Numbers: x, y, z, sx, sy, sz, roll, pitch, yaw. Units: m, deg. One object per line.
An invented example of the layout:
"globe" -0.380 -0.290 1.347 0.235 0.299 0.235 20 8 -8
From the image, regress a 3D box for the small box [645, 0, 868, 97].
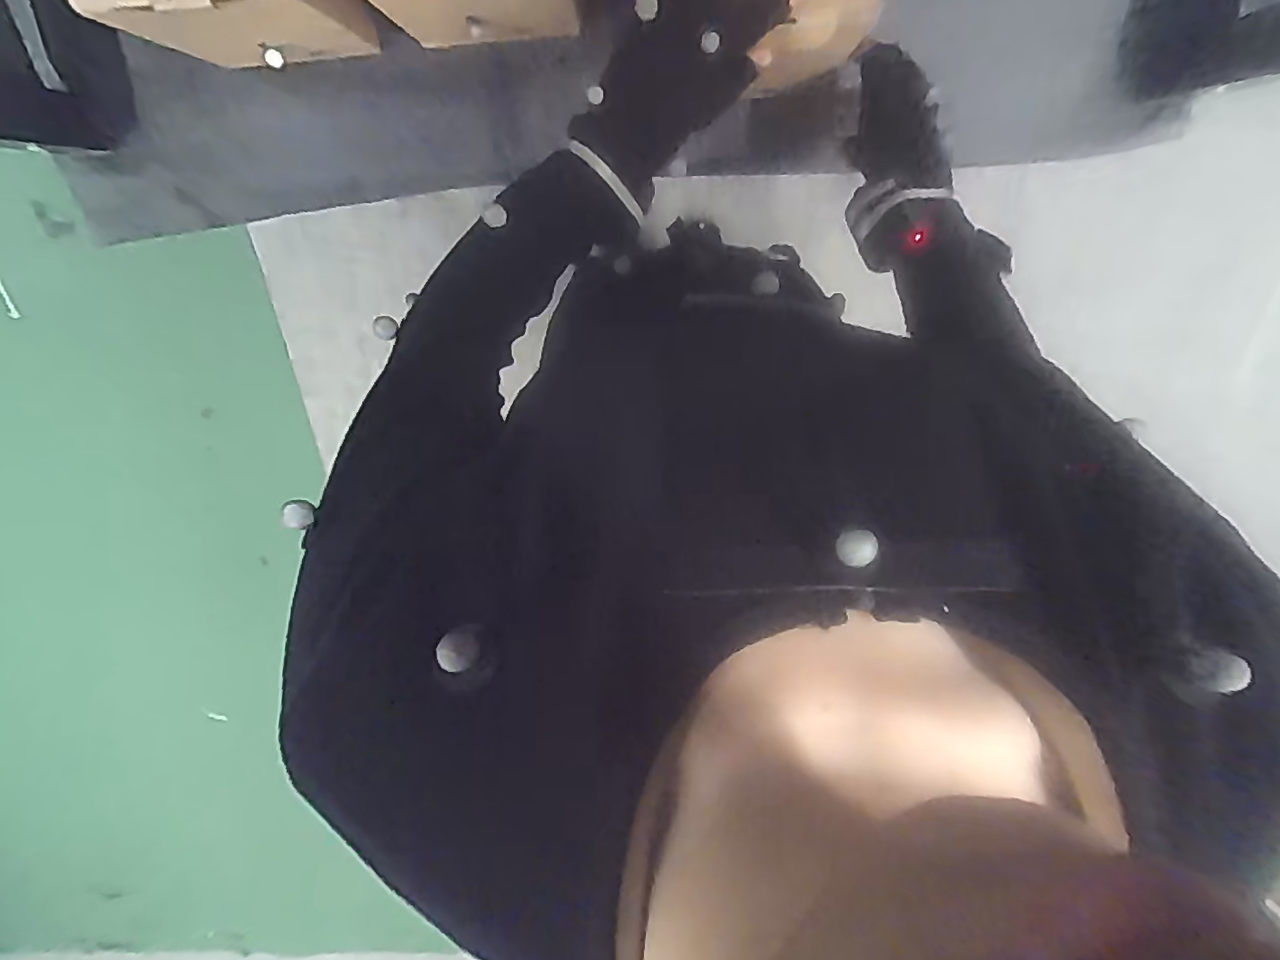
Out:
"small box" 0.089 -0.441 0.448 0.168 0.176 0.179 0 109 2

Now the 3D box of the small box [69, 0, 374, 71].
"small box" -0.351 -0.467 0.441 0.168 0.176 0.179 -4 115 1
